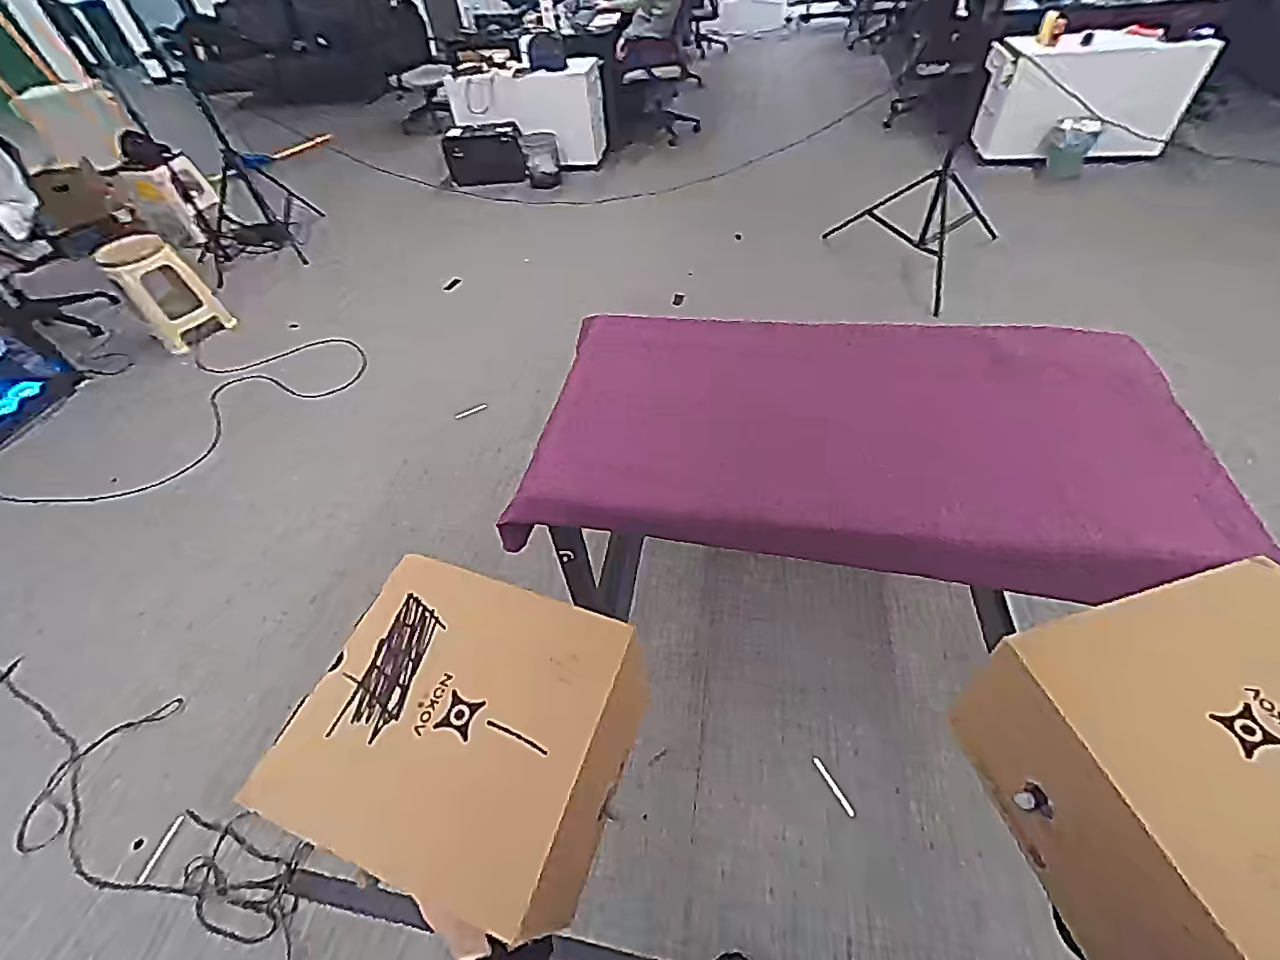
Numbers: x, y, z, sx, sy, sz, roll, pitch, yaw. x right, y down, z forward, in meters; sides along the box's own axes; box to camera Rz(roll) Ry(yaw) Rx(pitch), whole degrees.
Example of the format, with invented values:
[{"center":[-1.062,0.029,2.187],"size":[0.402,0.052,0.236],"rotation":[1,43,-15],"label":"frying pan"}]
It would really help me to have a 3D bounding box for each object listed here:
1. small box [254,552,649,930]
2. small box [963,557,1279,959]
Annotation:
[{"center":[-0.102,0.180,0.383],"size":[0.179,0.176,0.168],"rotation":[15,56,14],"label":"small box"},{"center":[0.342,0.182,0.347],"size":[0.179,0.176,0.168],"rotation":[-17,49,-1],"label":"small box"}]
